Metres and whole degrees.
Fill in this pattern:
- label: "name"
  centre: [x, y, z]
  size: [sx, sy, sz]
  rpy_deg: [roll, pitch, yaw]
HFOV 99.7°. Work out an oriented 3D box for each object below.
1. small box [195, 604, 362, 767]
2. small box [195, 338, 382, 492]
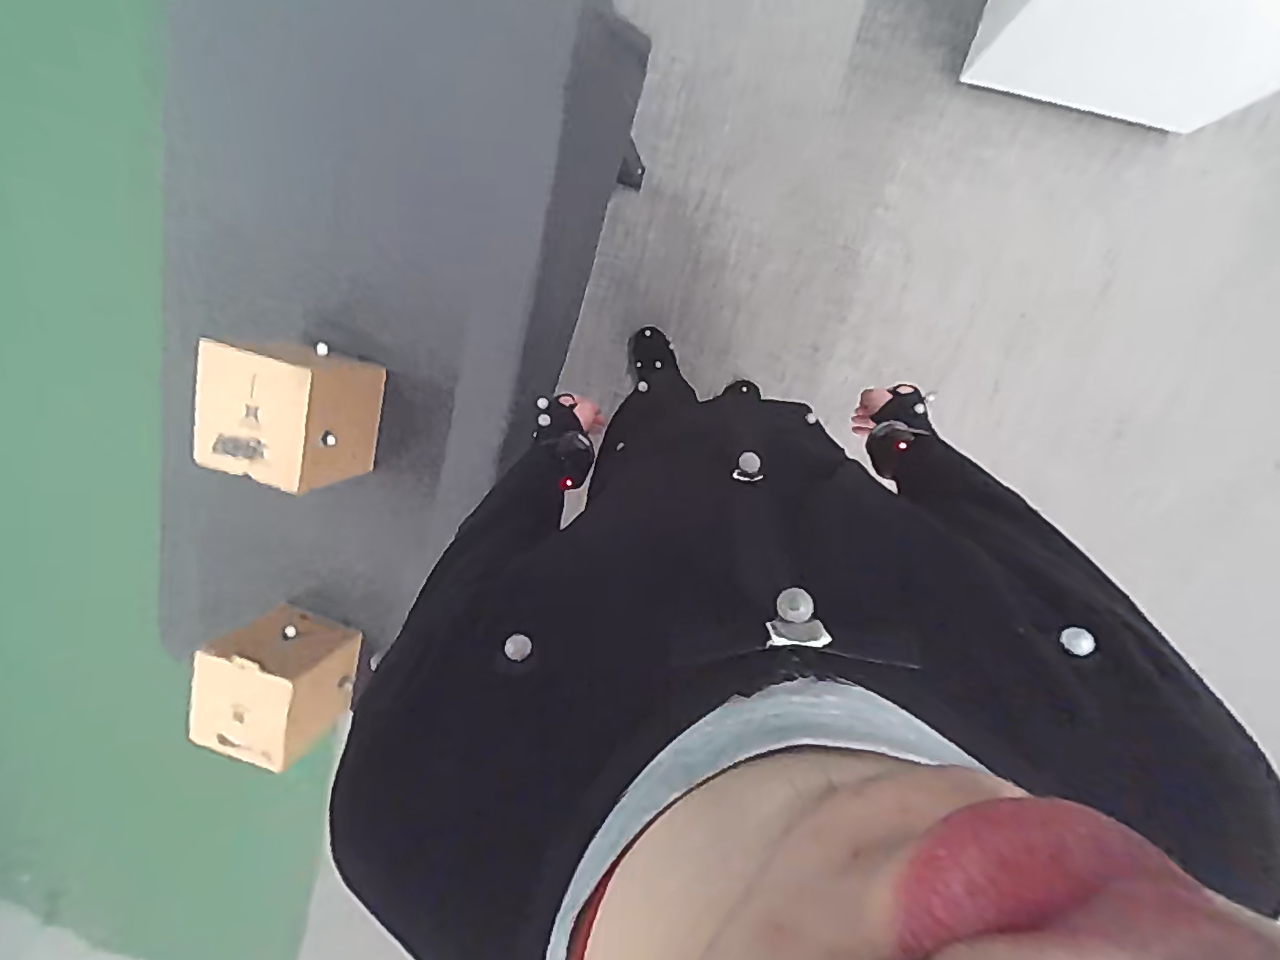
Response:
- label: "small box"
  centre: [-0.609, 0.339, 0.928]
  size: [0.168, 0.176, 0.179]
  rpy_deg: [18, 104, 5]
- label: "small box"
  centre: [-0.514, -0.103, 0.809]
  size: [0.168, 0.176, 0.179]
  rpy_deg: [16, 104, 4]
